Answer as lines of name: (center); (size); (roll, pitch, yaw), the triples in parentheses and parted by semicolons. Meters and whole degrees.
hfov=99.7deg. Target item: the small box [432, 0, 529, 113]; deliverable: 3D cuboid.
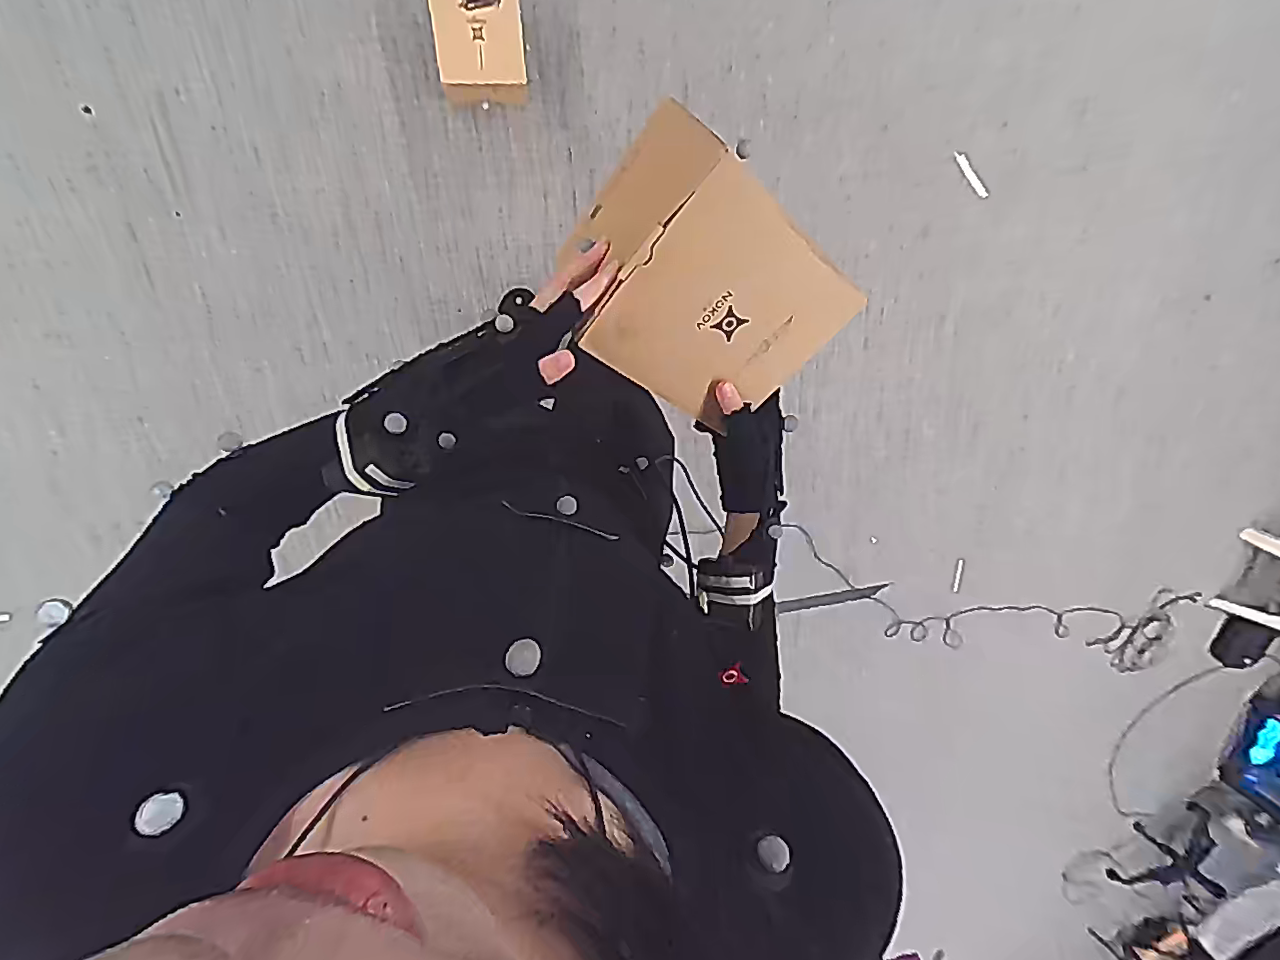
small box: (-0.318, -0.868, 1.092); (0.168, 0.176, 0.179); (-6, 113, -10)

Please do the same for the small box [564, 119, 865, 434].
small box: (0.050, -0.178, 0.475); (0.179, 0.176, 0.168); (24, 124, -35)
